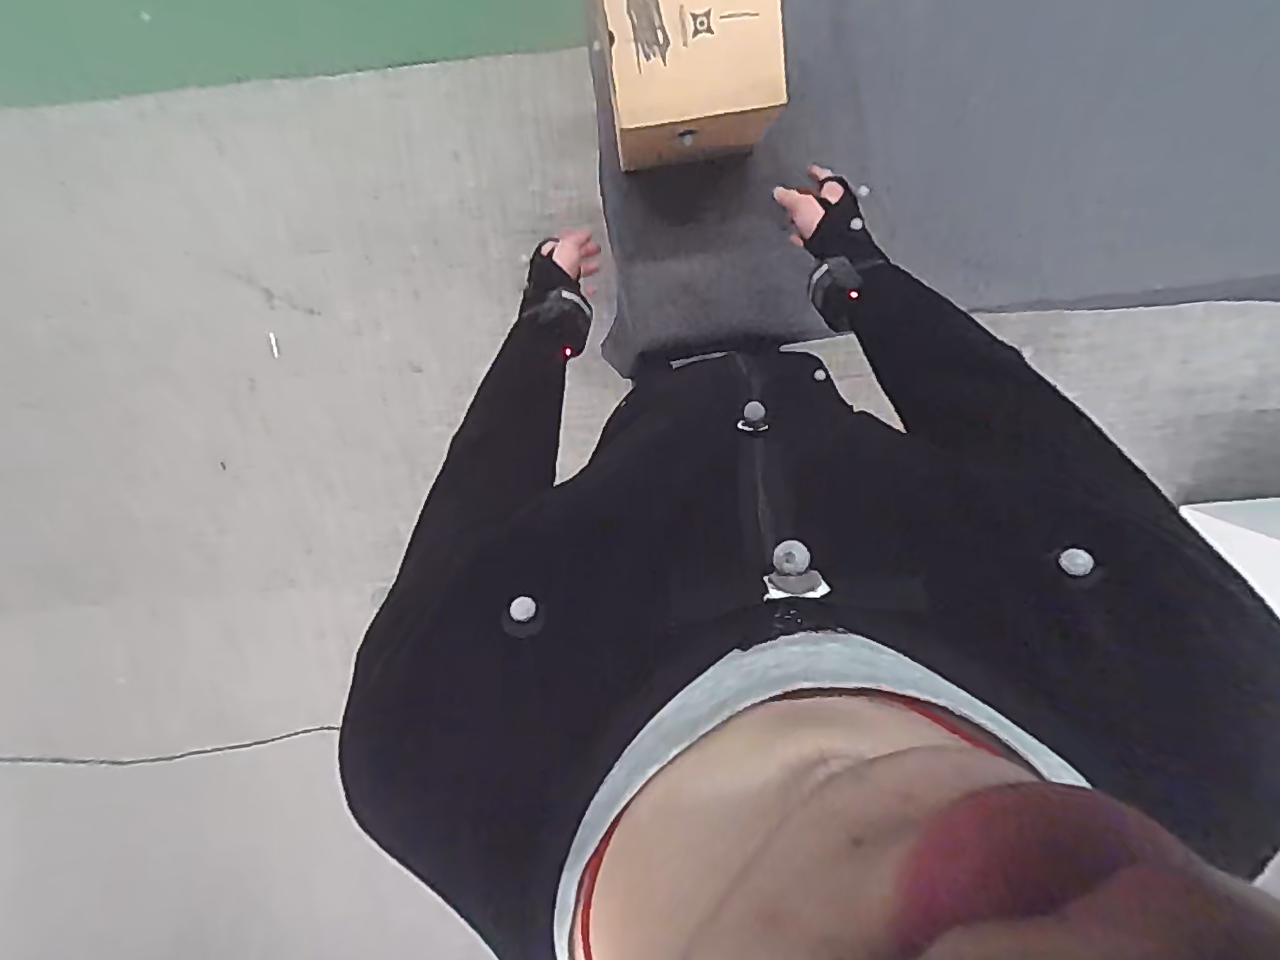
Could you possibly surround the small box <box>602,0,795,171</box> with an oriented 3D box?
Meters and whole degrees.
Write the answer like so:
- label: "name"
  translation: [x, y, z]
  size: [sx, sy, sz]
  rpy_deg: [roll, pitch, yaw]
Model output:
- label: "small box"
  translation: [0.054, -0.460, 0.592]
  size: [0.179, 0.176, 0.168]
  rpy_deg: [-10, 106, -2]
